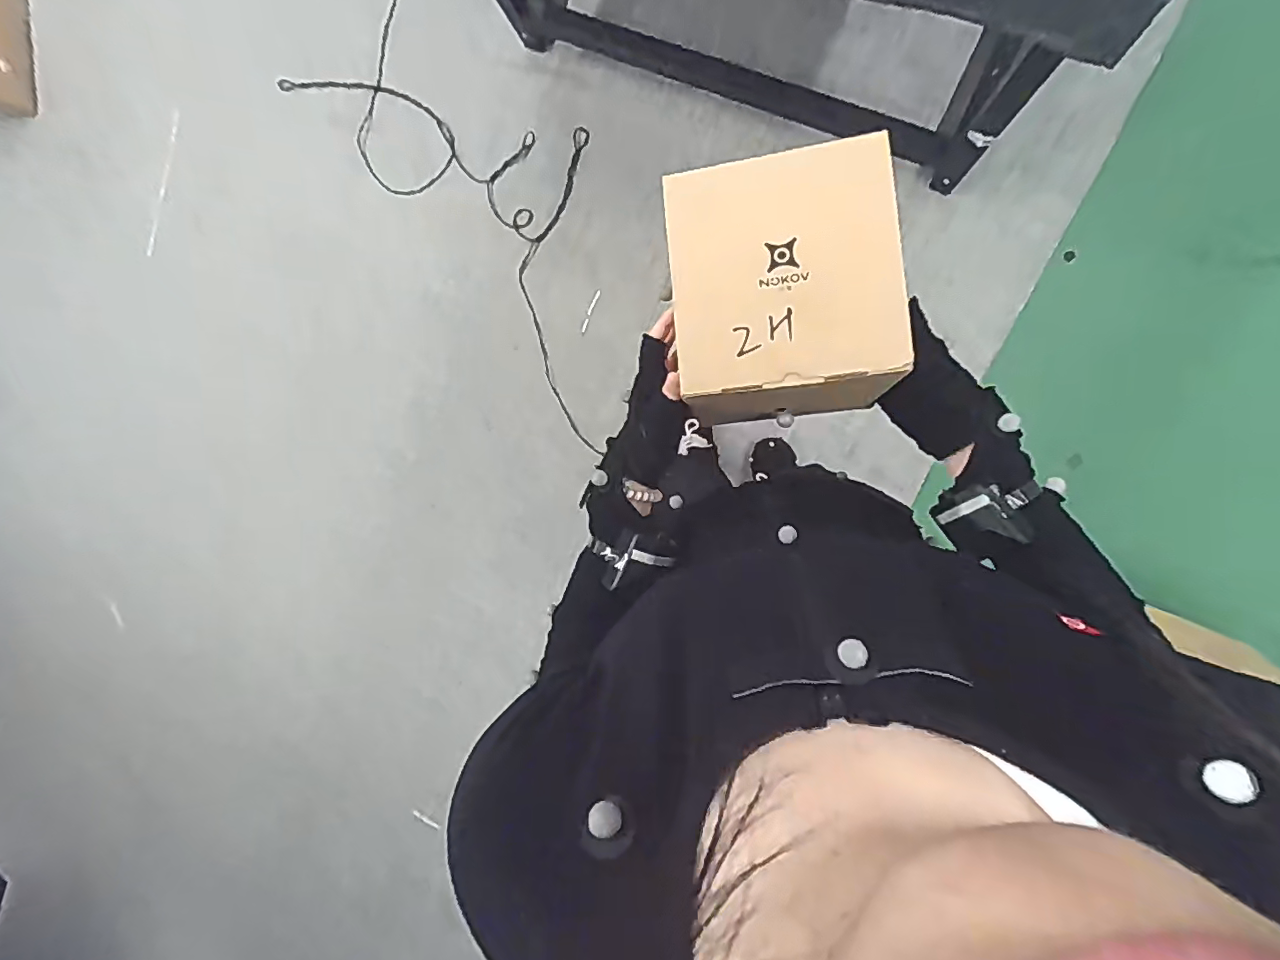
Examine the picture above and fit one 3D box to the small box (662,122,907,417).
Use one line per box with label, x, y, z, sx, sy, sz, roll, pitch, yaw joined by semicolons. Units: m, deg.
small box;0.116;-0.159;0.470;0.168;0.176;0.179;-4;88;12
